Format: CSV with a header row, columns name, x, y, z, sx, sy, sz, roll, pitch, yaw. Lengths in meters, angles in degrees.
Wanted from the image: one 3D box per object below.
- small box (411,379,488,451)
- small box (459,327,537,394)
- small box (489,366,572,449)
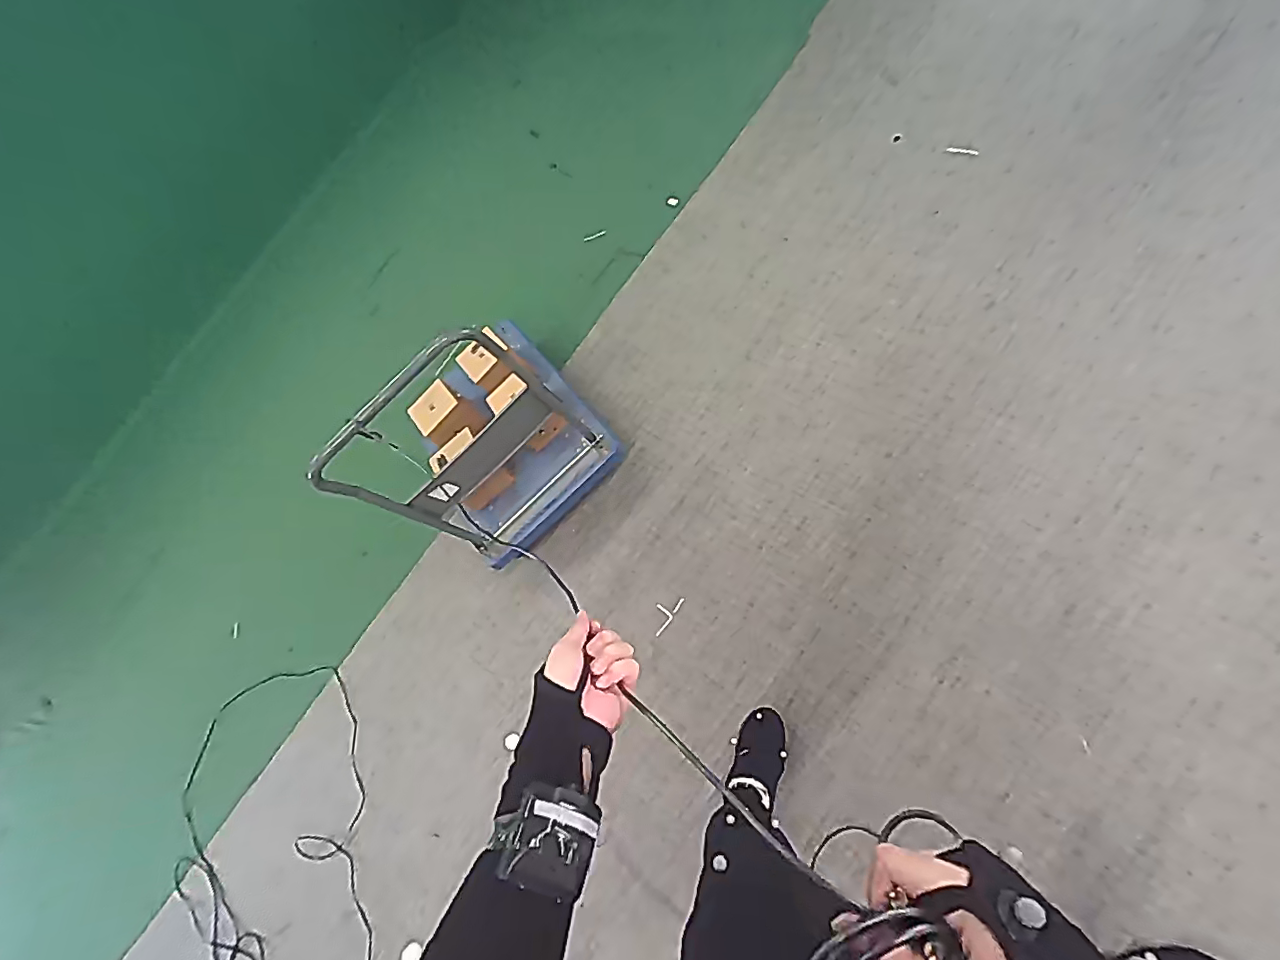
name,x,y,z,sx,sy,sz,roll,pitch,yaw
small box,-0.679,-0.225,1.942,0.168,0.176,0.179,-46,56,2
small box,-0.505,-0.406,1.932,0.168,0.176,0.179,-47,57,3
small box,-0.359,-0.233,1.784,0.168,0.176,0.179,-42,57,5
